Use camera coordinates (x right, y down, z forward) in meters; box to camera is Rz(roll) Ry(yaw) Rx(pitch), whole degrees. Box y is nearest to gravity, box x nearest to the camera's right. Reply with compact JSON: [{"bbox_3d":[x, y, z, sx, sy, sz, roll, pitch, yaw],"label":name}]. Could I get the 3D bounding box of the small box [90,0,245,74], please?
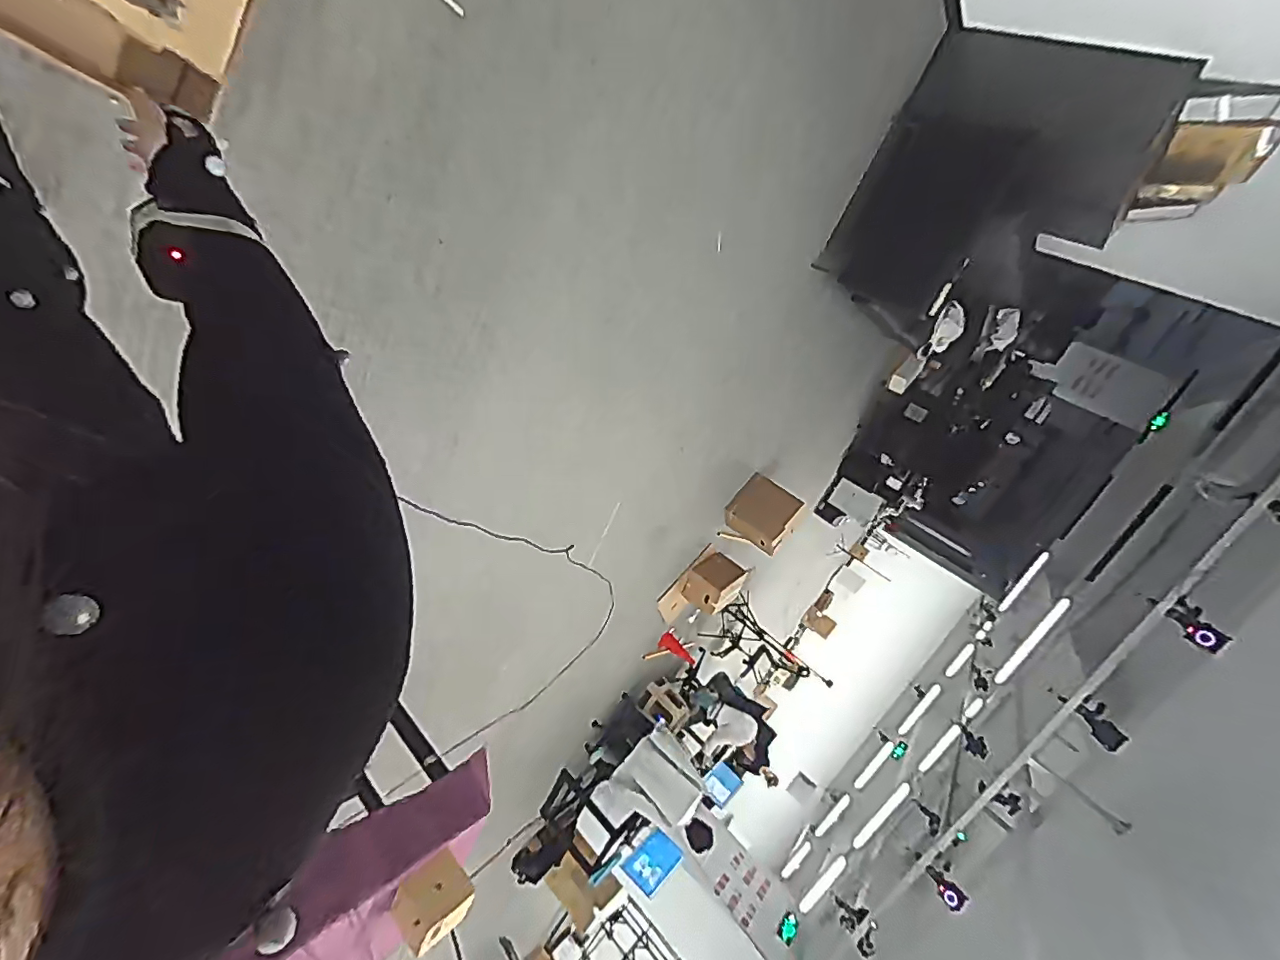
[{"bbox_3d":[-0.605,-0.650,0.657,0.168,0.176,0.179,8,116,-59],"label":"small box"}]
